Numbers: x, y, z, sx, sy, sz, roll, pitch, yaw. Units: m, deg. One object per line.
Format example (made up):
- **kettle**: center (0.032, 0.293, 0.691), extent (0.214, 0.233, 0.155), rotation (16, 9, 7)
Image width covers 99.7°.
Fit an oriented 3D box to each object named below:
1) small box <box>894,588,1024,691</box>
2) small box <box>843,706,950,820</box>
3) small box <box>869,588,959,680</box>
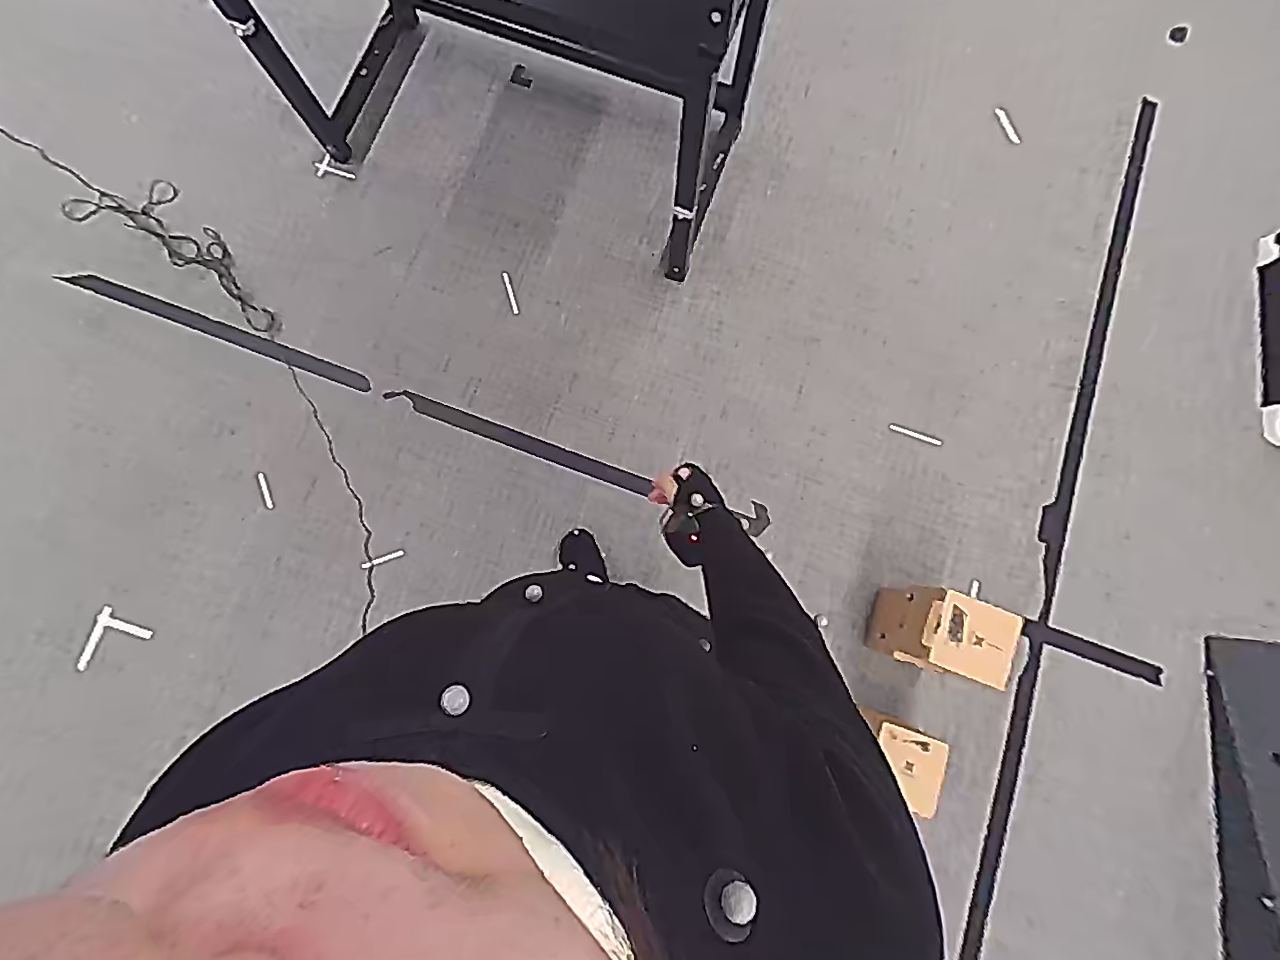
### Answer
- **small box**: center (0.715, 0.353, 1.231), extent (0.179, 0.176, 0.168), rotation (21, 82, 2)
- **small box**: center (0.626, 0.692, 1.343), extent (0.168, 0.176, 0.179), rotation (20, 82, 3)
- **small box**: center (0.714, 0.388, 1.391), extent (0.168, 0.176, 0.179), rotation (18, 81, 3)
